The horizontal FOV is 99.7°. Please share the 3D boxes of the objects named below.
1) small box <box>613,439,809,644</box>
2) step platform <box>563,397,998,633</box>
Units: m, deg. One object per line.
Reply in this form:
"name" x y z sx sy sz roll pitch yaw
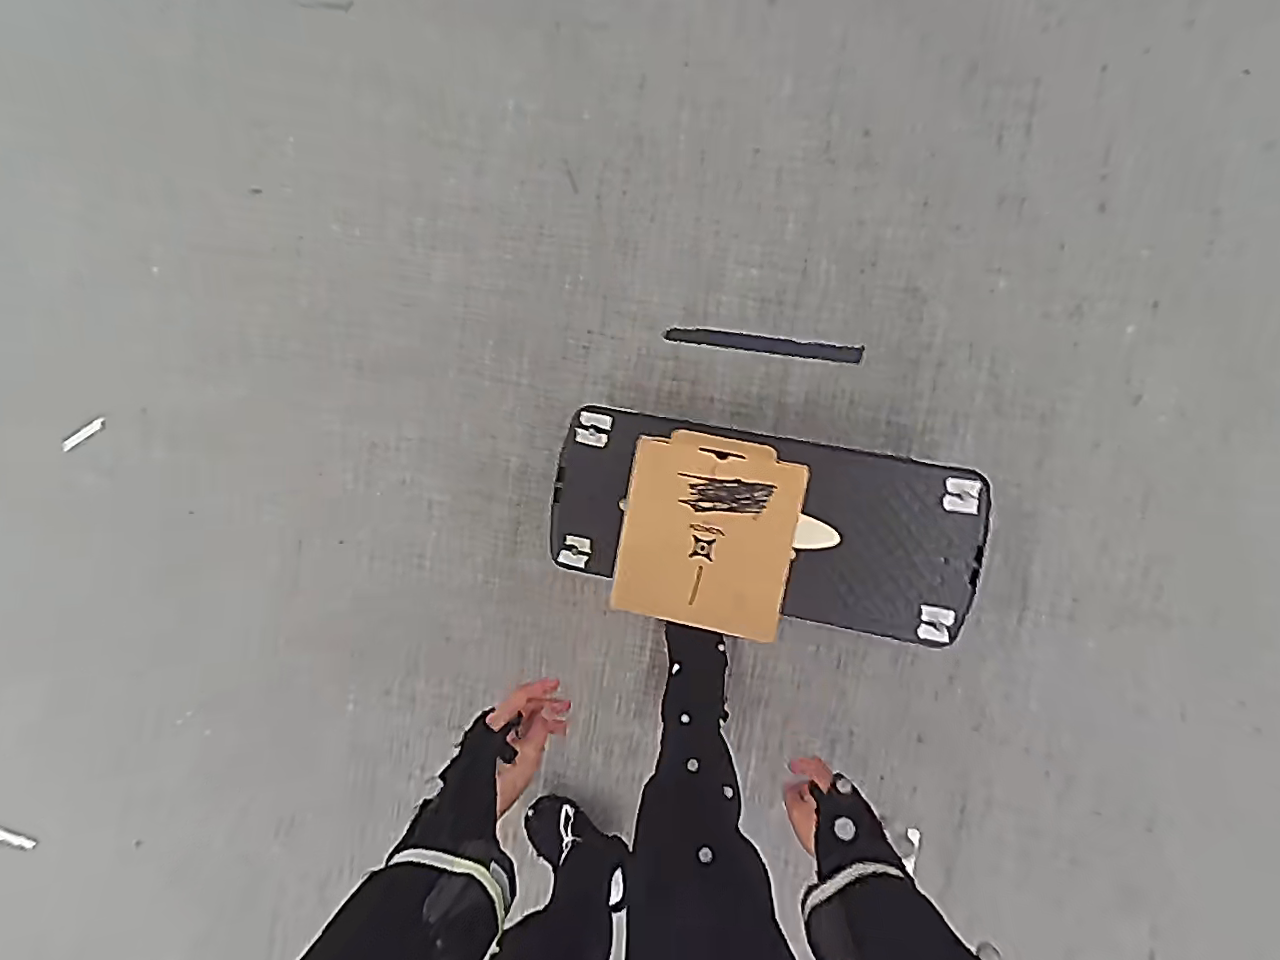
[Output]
"small box" 0.078 0.057 0.610 0.168 0.176 0.179 11 94 8
"step platform" 0.214 0.047 0.931 0.684 0.204 0.286 10 93 9
